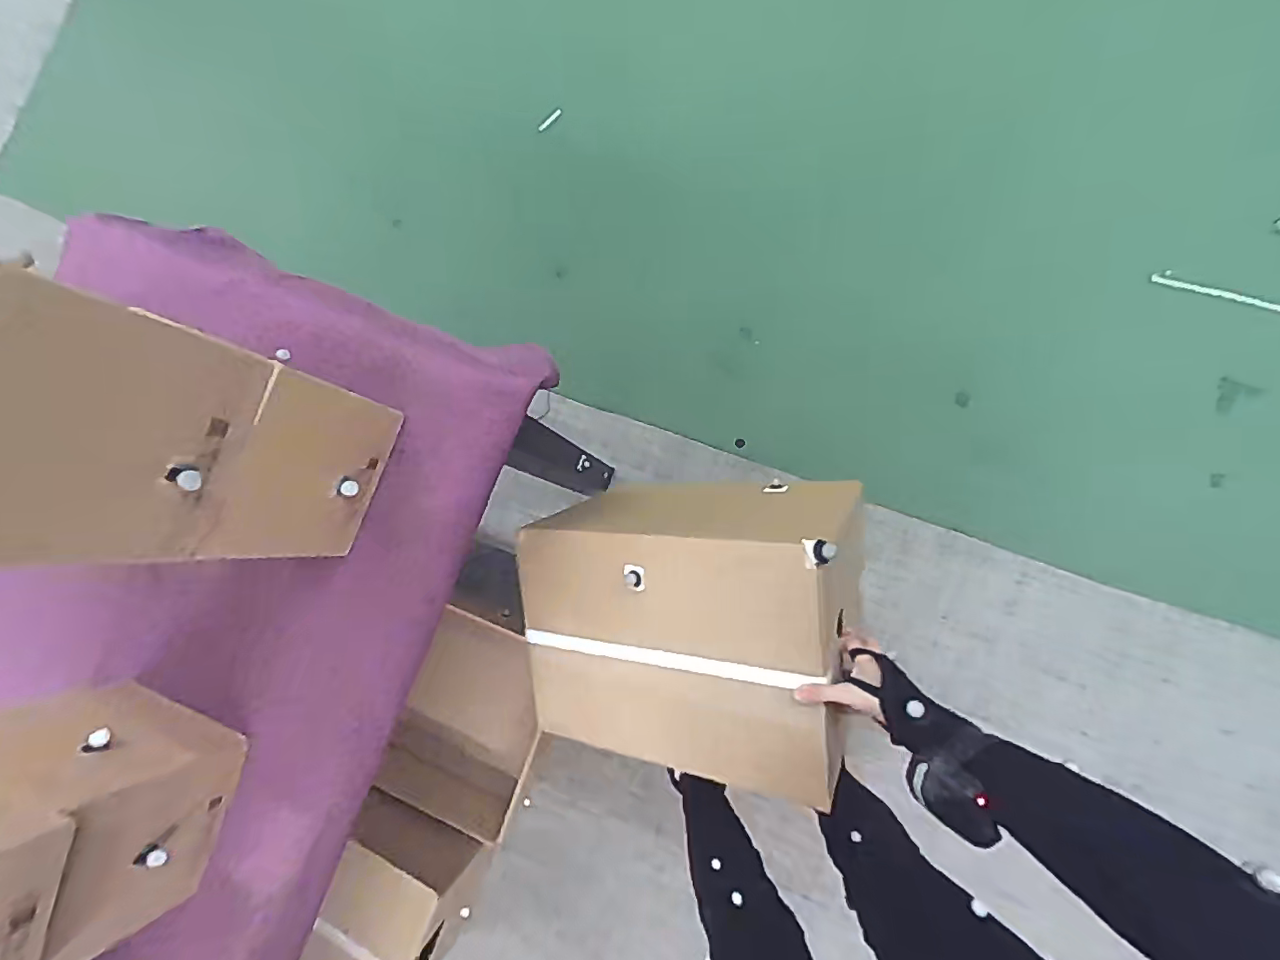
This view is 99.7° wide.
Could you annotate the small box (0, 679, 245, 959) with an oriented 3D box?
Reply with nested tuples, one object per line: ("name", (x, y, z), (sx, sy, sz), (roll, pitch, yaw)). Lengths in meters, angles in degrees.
("small box", (-0.528, 0.306, 0.507), (0.179, 0.176, 0.168), (17, 86, 11))

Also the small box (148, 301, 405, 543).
("small box", (-0.373, -0.043, 0.524), (0.179, 0.176, 0.168), (21, 88, 12))

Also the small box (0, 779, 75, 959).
("small box", (-0.537, 0.299, 0.340), (0.179, 0.176, 0.168), (11, 85, 11))
